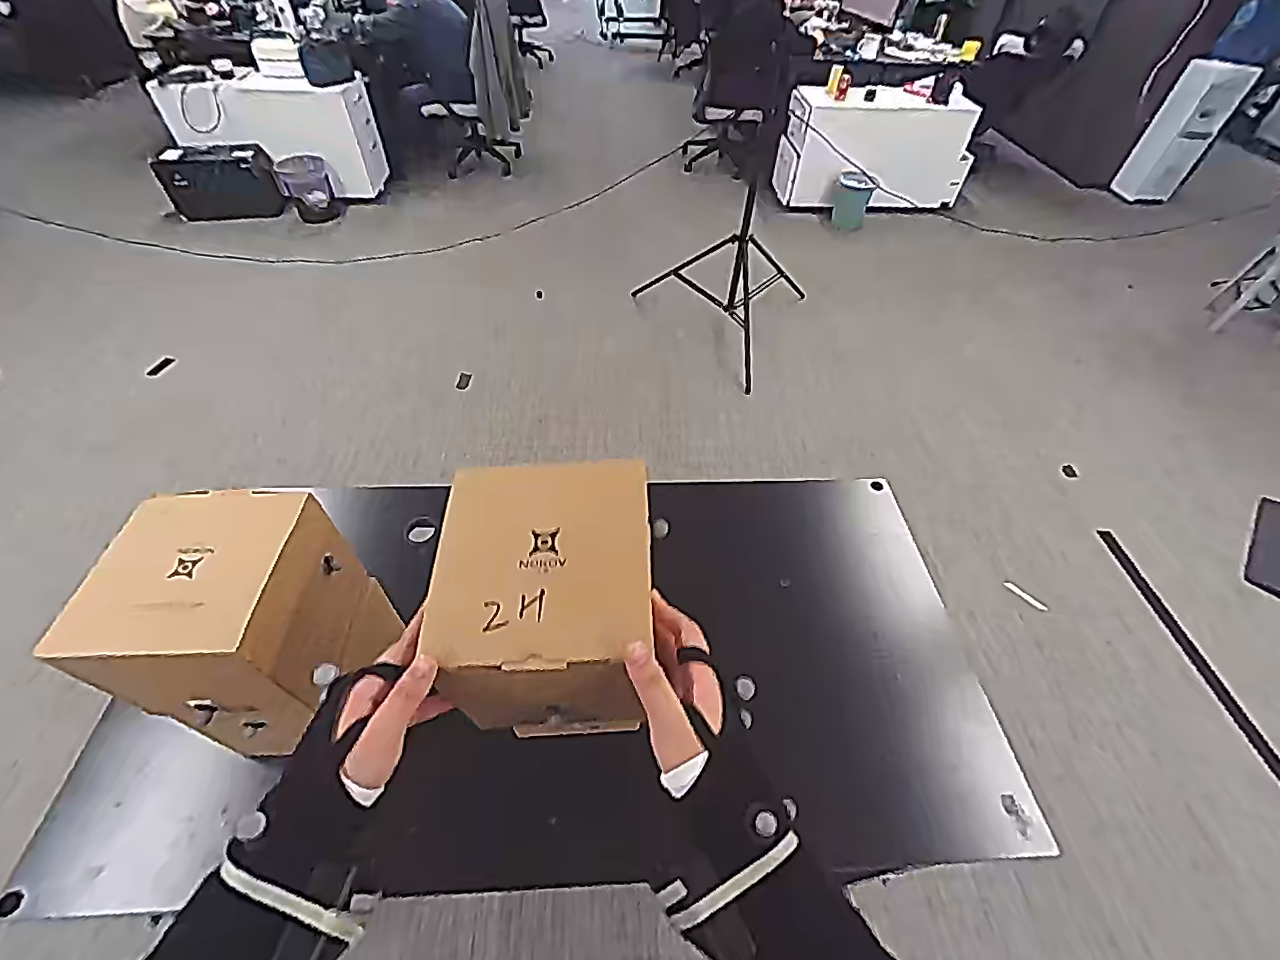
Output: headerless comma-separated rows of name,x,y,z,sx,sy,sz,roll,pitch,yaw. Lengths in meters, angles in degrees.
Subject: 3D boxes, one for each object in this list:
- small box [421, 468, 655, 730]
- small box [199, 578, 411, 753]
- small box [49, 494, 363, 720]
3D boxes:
small box,-0.073,0.109,0.490,0.168,0.176,0.179,-3,51,0
small box,-0.420,0.239,0.689,0.179,0.176,0.168,1,49,-3
small box,-0.417,0.133,0.566,0.168,0.176,0.179,-2,50,-2
